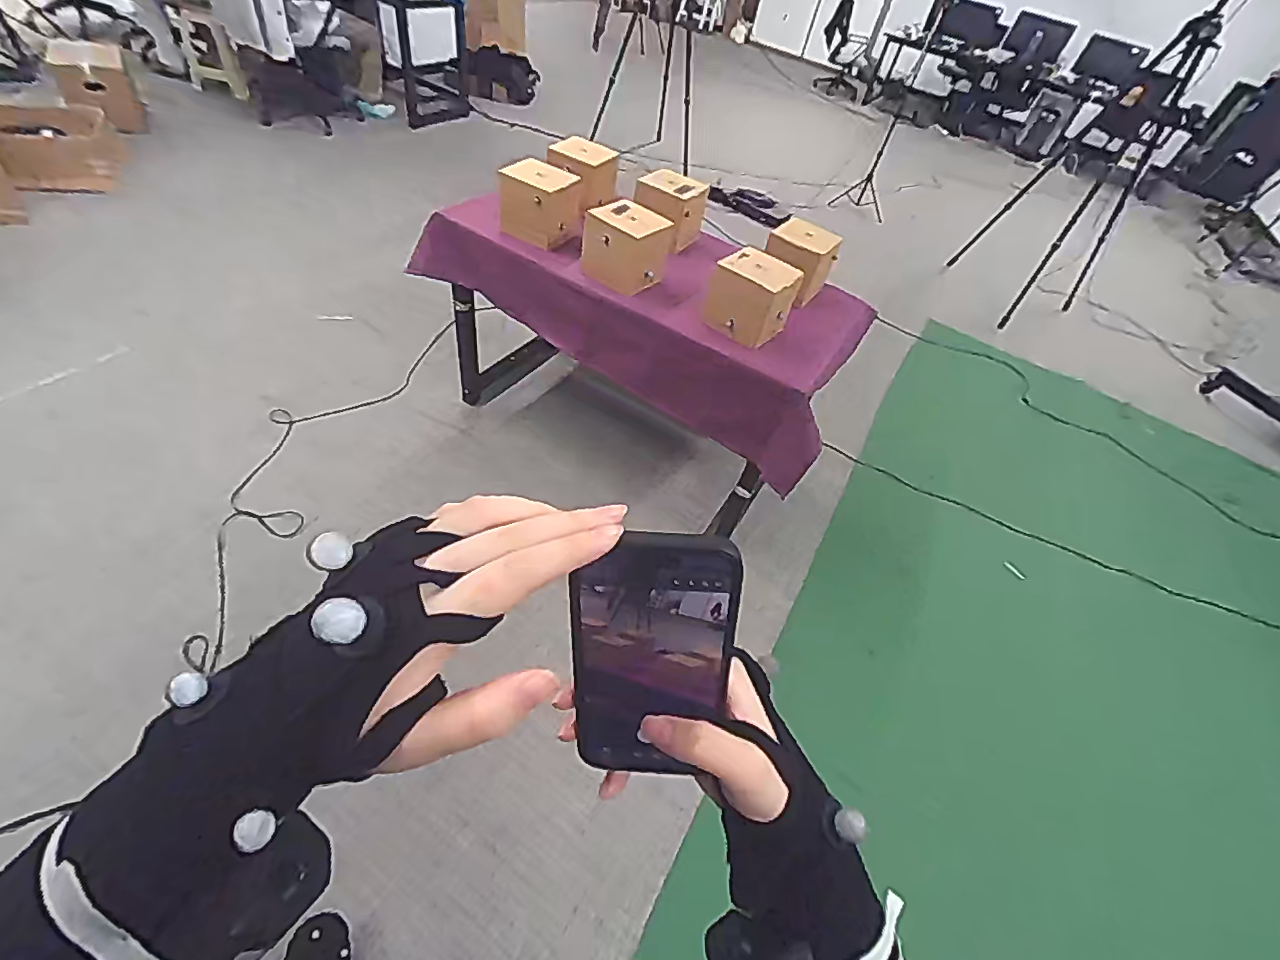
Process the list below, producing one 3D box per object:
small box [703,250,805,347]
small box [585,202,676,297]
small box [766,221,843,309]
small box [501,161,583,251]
[{"bbox_3d":[0.293,-0.470,1.419,0.179,0.176,0.168,36,50,18],"label":"small box"},{"bbox_3d":[-0.033,-0.633,1.487,0.179,0.176,0.168,36,50,17],"label":"small box"},{"bbox_3d":[0.470,-0.641,1.614,0.168,0.176,0.179,33,50,17],"label":"small box"},{"bbox_3d":[-0.288,-0.795,1.572,0.179,0.176,0.168,27,48,9],"label":"small box"}]
